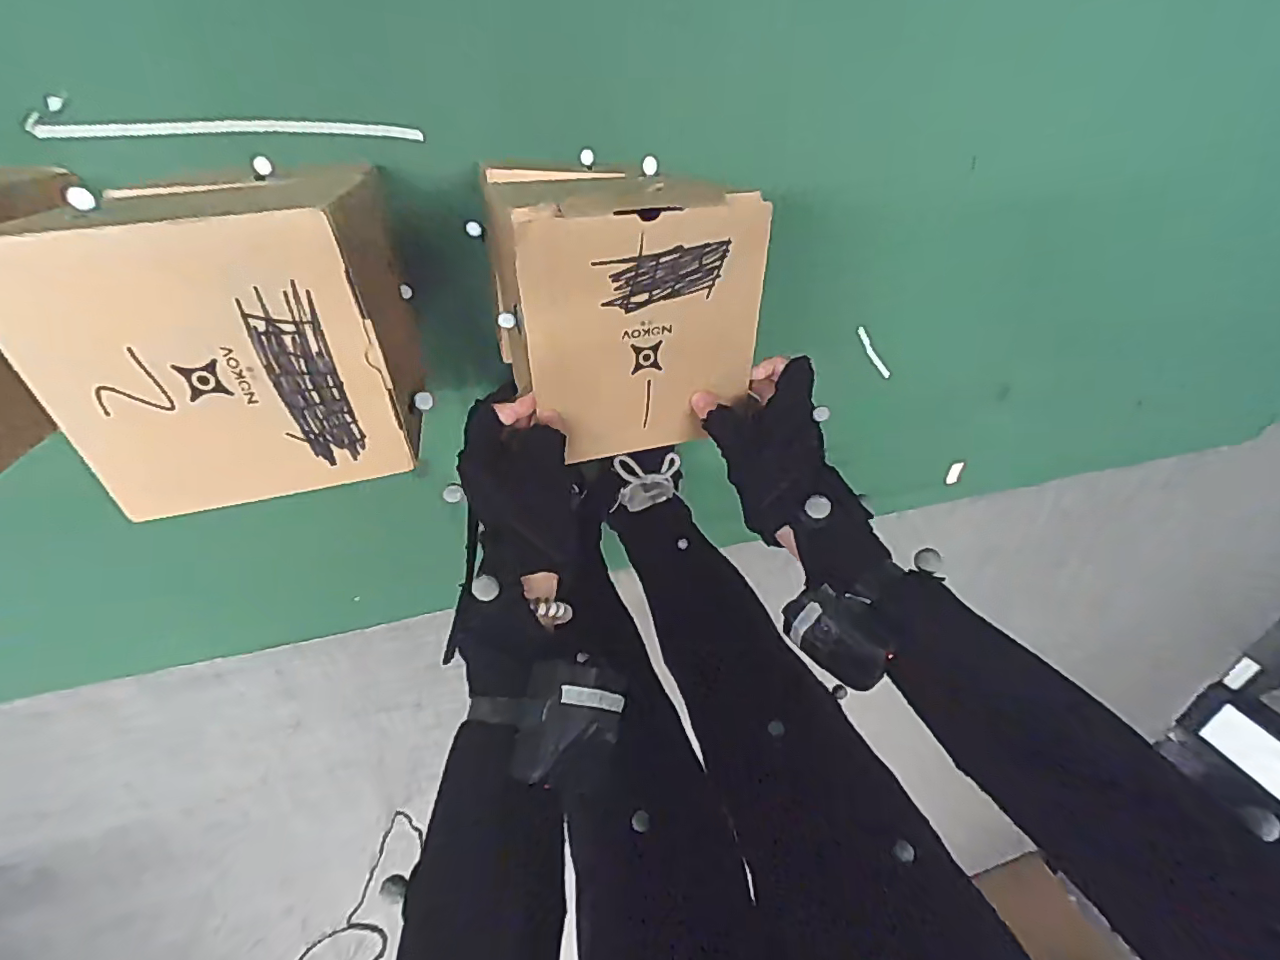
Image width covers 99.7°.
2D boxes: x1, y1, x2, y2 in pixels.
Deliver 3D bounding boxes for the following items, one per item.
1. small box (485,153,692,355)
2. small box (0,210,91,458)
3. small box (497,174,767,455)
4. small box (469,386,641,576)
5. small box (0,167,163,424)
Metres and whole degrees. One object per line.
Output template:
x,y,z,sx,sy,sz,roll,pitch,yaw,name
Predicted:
-0.061,-0.241,0.568,0.179,0.176,0.168,-7,124,-15,small box
-0.506,-0.081,0.320,0.179,0.176,0.168,-6,124,-15,small box
-0.016,-0.146,0.441,0.168,0.176,0.179,-11,125,-13,small box
-0.112,-0.005,0.730,0.179,0.176,0.168,28,122,-13,small box
-0.559,-0.159,0.456,0.168,0.176,0.179,-5,123,-15,small box
